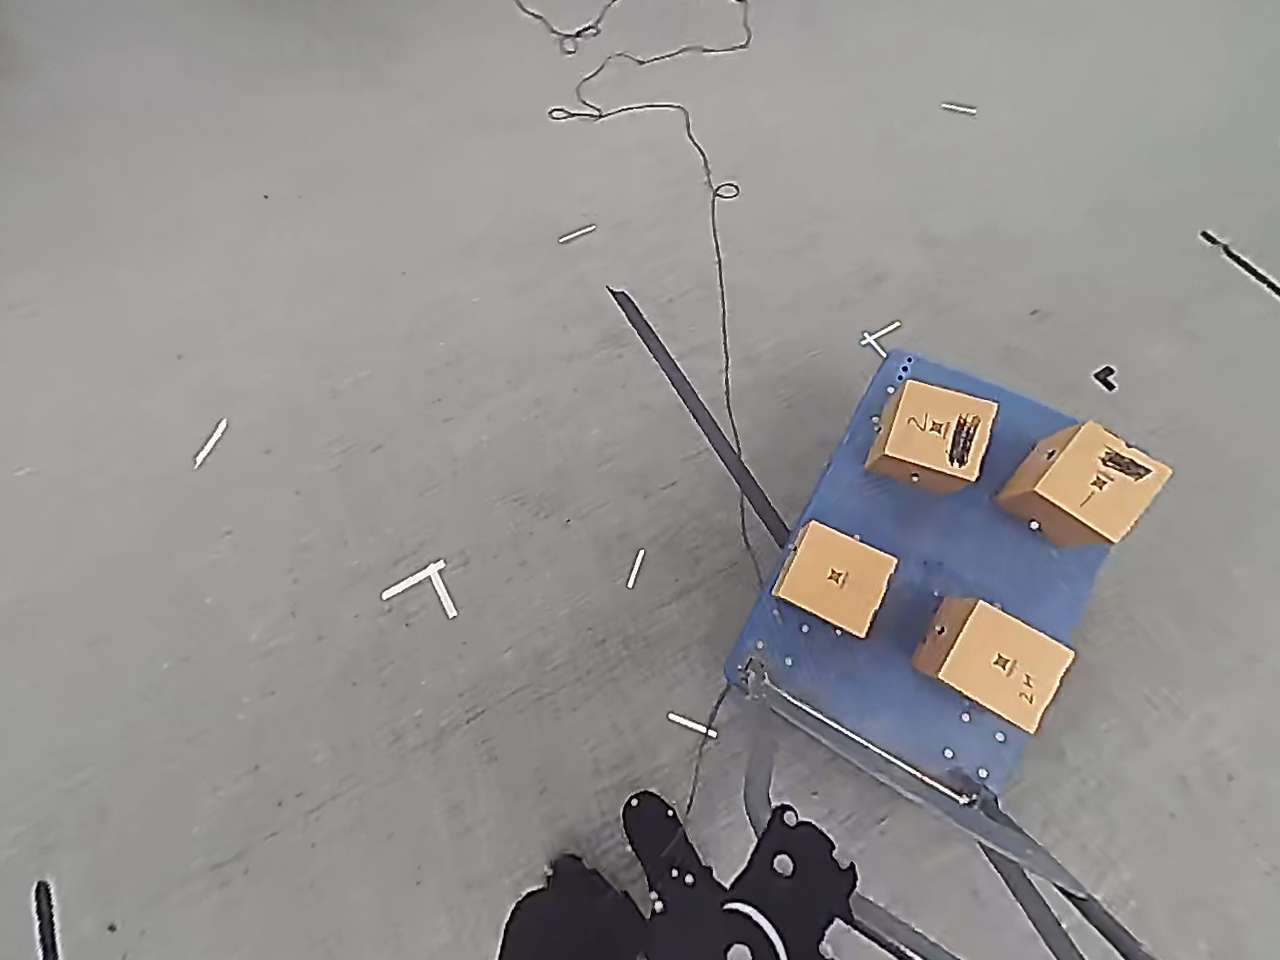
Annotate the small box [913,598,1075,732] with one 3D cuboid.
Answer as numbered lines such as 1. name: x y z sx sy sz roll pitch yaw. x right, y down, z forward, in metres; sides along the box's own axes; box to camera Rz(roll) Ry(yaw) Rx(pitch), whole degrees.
1. small box: 0.662 0.344 1.037 0.179 0.176 0.168 32 86 14

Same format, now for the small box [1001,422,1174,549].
1. small box: 0.866 0.018 1.069 0.168 0.176 0.179 39 88 14

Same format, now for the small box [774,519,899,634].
1. small box: 0.391 0.199 1.111 0.179 0.176 0.168 26 84 12
